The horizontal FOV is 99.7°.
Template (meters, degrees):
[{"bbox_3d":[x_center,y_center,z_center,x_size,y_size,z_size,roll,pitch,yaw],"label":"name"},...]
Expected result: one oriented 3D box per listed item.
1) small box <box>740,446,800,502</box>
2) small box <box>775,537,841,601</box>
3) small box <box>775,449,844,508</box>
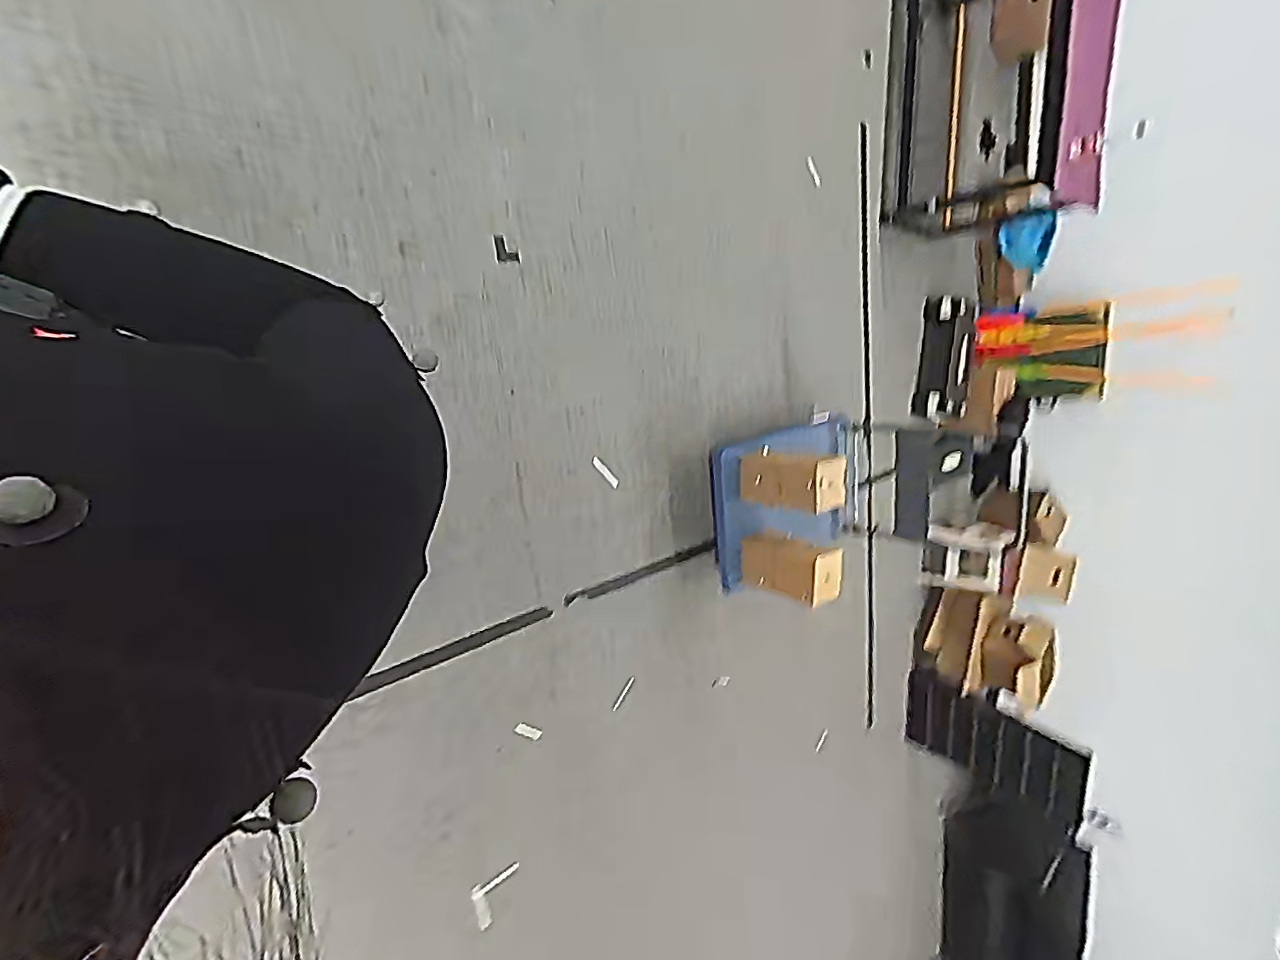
[{"bbox_3d":[0.485,-0.027,2.008,0.168,0.176,0.179,-12,104,-38],"label":"small box"},{"bbox_3d":[0.602,0.313,1.948,0.168,0.176,0.179,-10,104,-38],"label":"small box"},{"bbox_3d":[0.589,-0.011,1.882,0.179,0.176,0.168,-15,106,-38],"label":"small box"}]
